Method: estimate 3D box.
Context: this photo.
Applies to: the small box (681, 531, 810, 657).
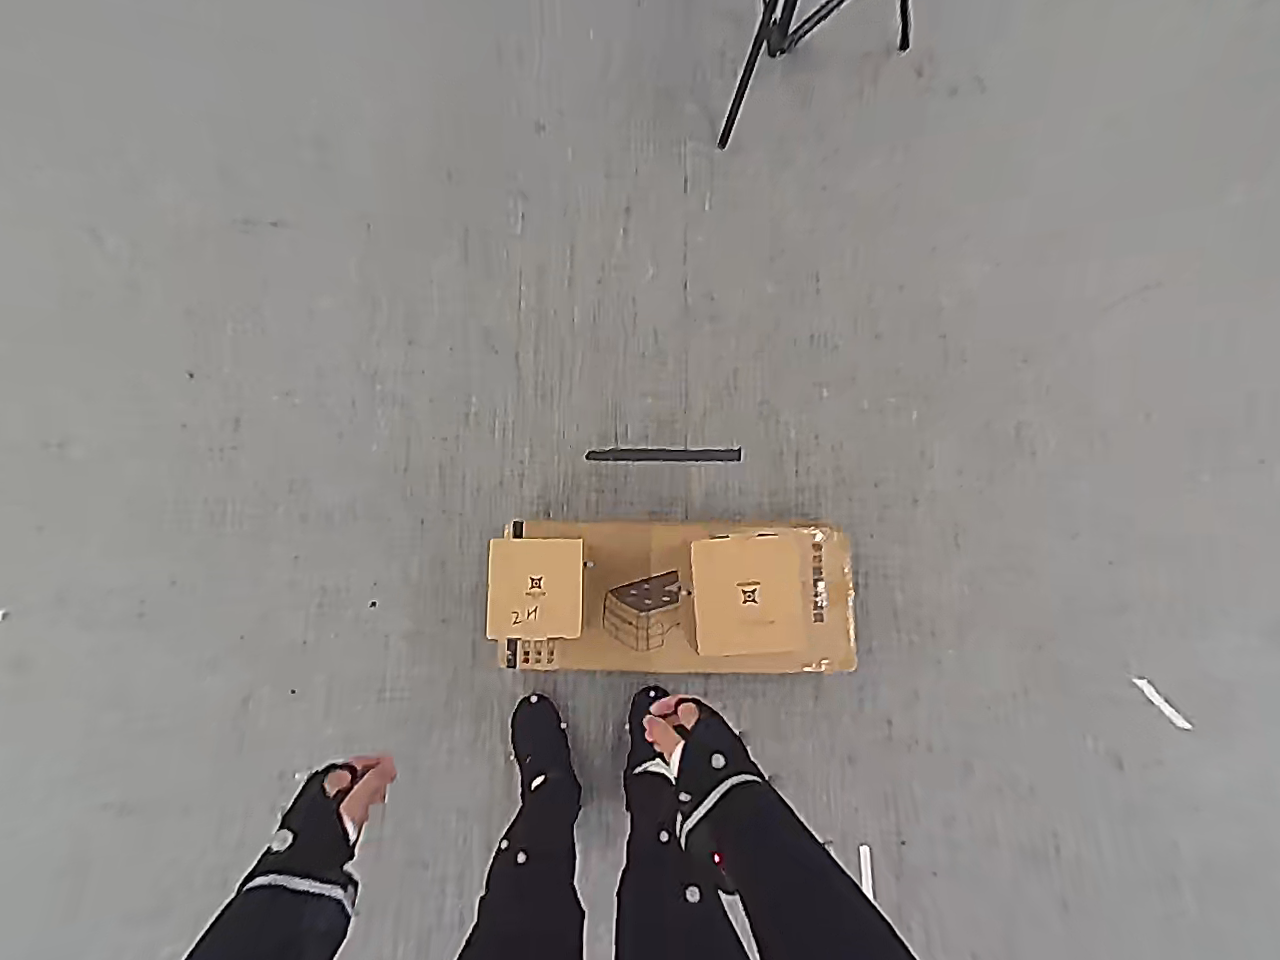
[{"bbox_3d":[0.160,0.180,0.881,0.168,0.176,0.179,-4,82,-2],"label":"small box"}]
